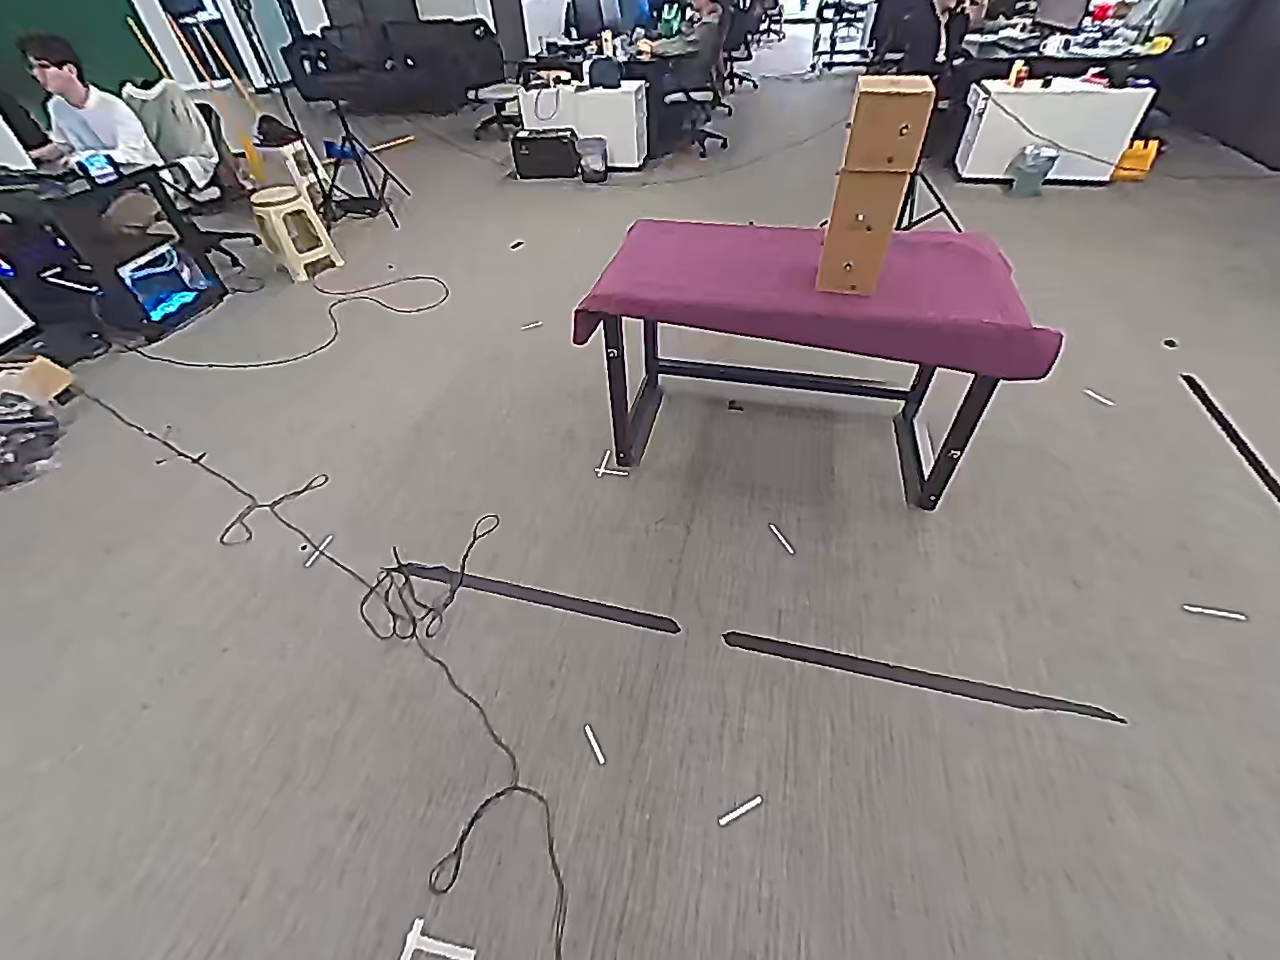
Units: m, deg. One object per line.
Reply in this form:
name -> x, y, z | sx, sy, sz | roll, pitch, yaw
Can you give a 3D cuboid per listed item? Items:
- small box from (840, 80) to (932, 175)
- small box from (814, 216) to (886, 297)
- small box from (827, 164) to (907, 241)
small box -> 0.600, -0.870, 1.337 | 0.168, 0.176, 0.179 | 8, 46, 11
small box -> 0.613, -0.653, 1.581 | 0.168, 0.176, 0.179 | 11, 46, 13
small box -> 0.610, -0.771, 1.467 | 0.168, 0.176, 0.179 | 10, 47, 14
